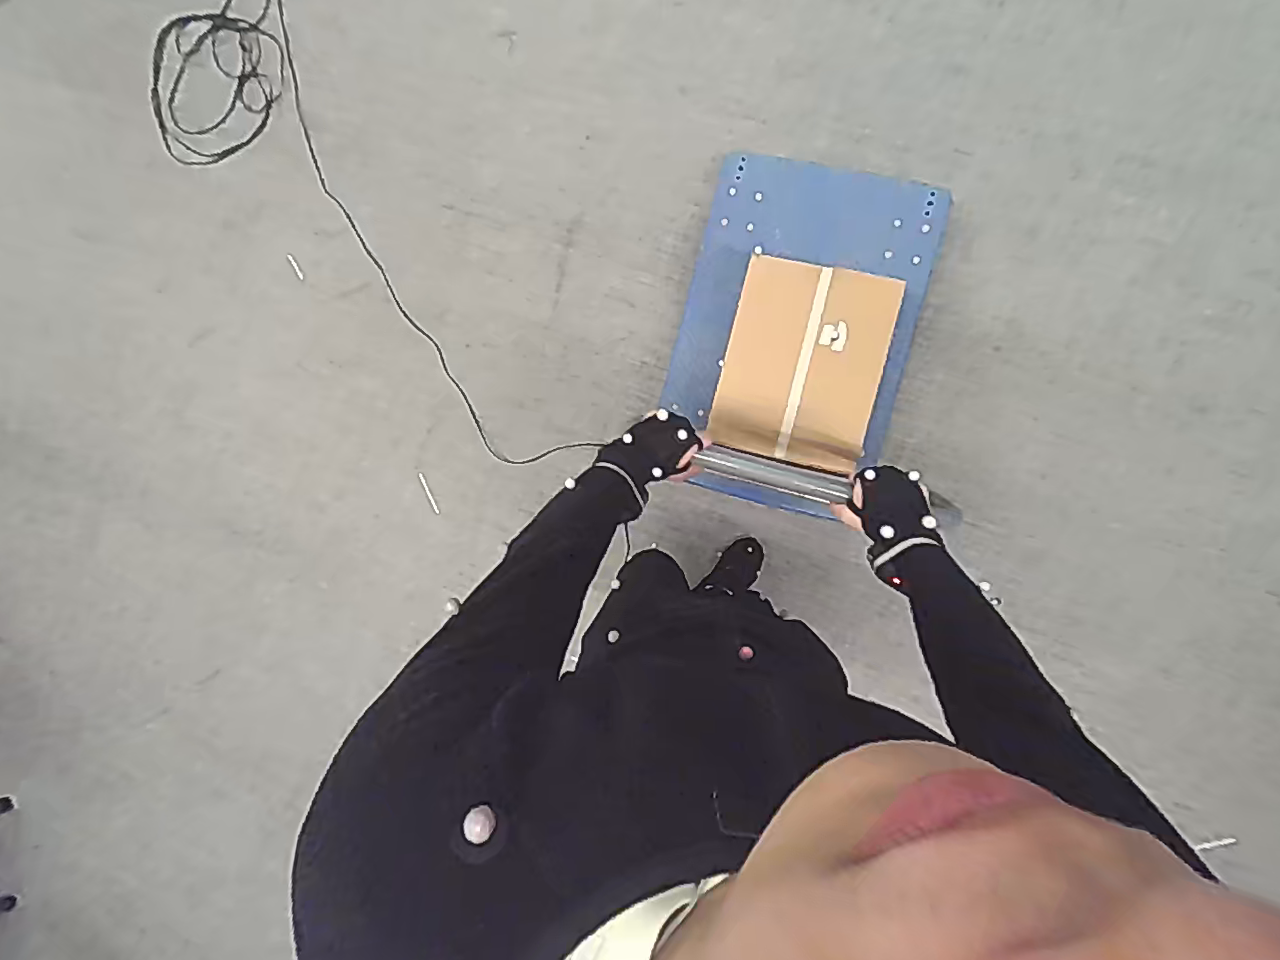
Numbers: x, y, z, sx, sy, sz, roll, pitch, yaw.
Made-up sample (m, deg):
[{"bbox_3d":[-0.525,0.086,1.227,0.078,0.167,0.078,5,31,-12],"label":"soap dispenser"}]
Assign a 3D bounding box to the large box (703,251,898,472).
[{"bbox_3d":[0.346,-0.247,1.251,0.320,0.320,0.408,15,92,8],"label":"large box"}]
